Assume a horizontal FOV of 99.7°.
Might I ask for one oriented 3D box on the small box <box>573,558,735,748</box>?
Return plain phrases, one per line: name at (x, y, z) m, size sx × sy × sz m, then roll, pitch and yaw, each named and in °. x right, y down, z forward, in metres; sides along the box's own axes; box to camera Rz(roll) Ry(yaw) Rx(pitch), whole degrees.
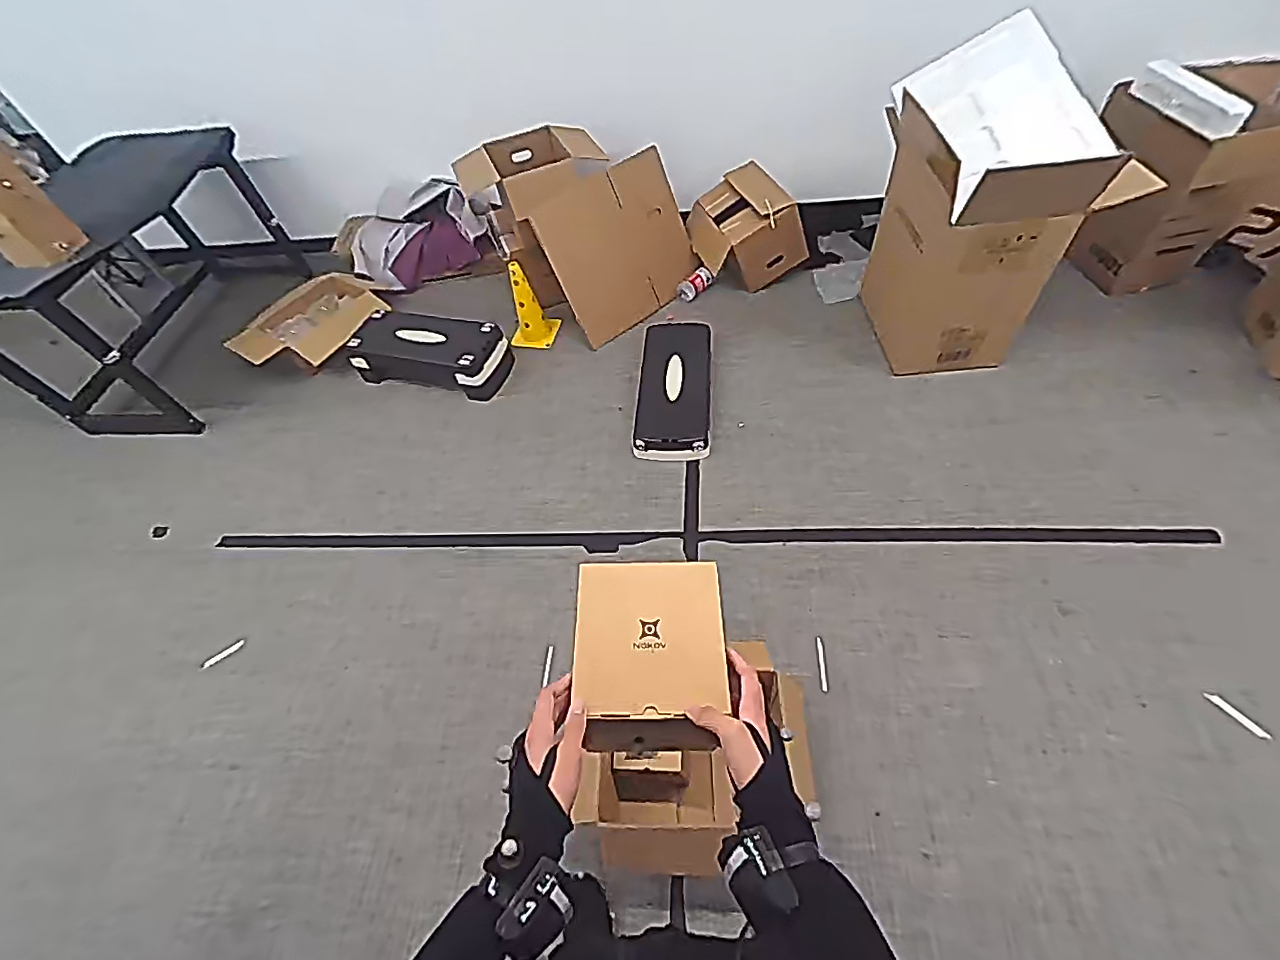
small box at (0.014, 0.210, 0.651) m, size 0.168 × 0.176 × 0.179 m, roll -1°, pitch 54°, yaw 0°
